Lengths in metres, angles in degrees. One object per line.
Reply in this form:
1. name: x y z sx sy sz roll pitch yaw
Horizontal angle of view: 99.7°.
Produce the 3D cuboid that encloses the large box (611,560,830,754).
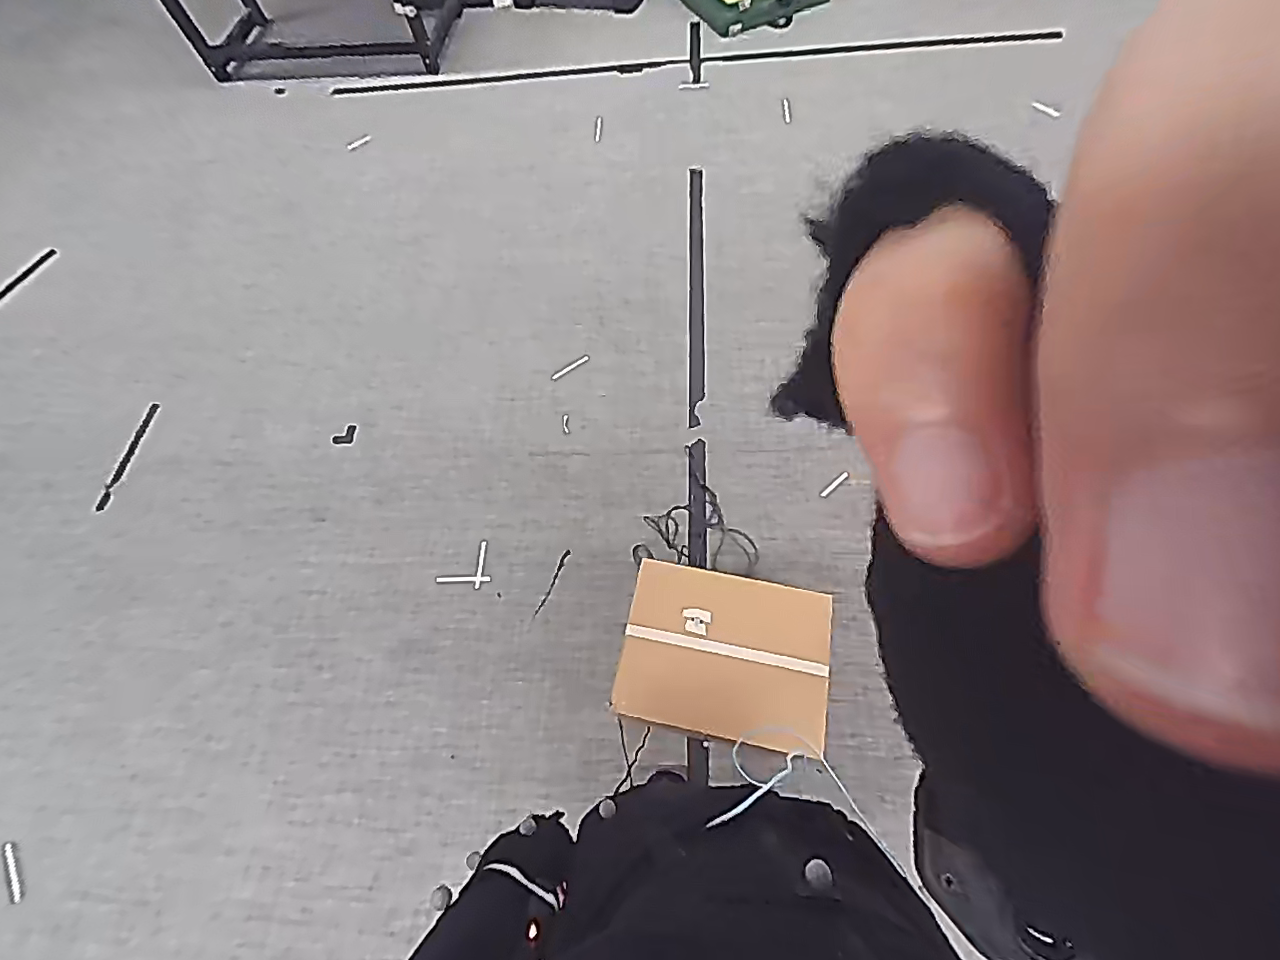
1. large box: 0.178 0.404 1.211 0.408 0.320 0.320 10 63 8
